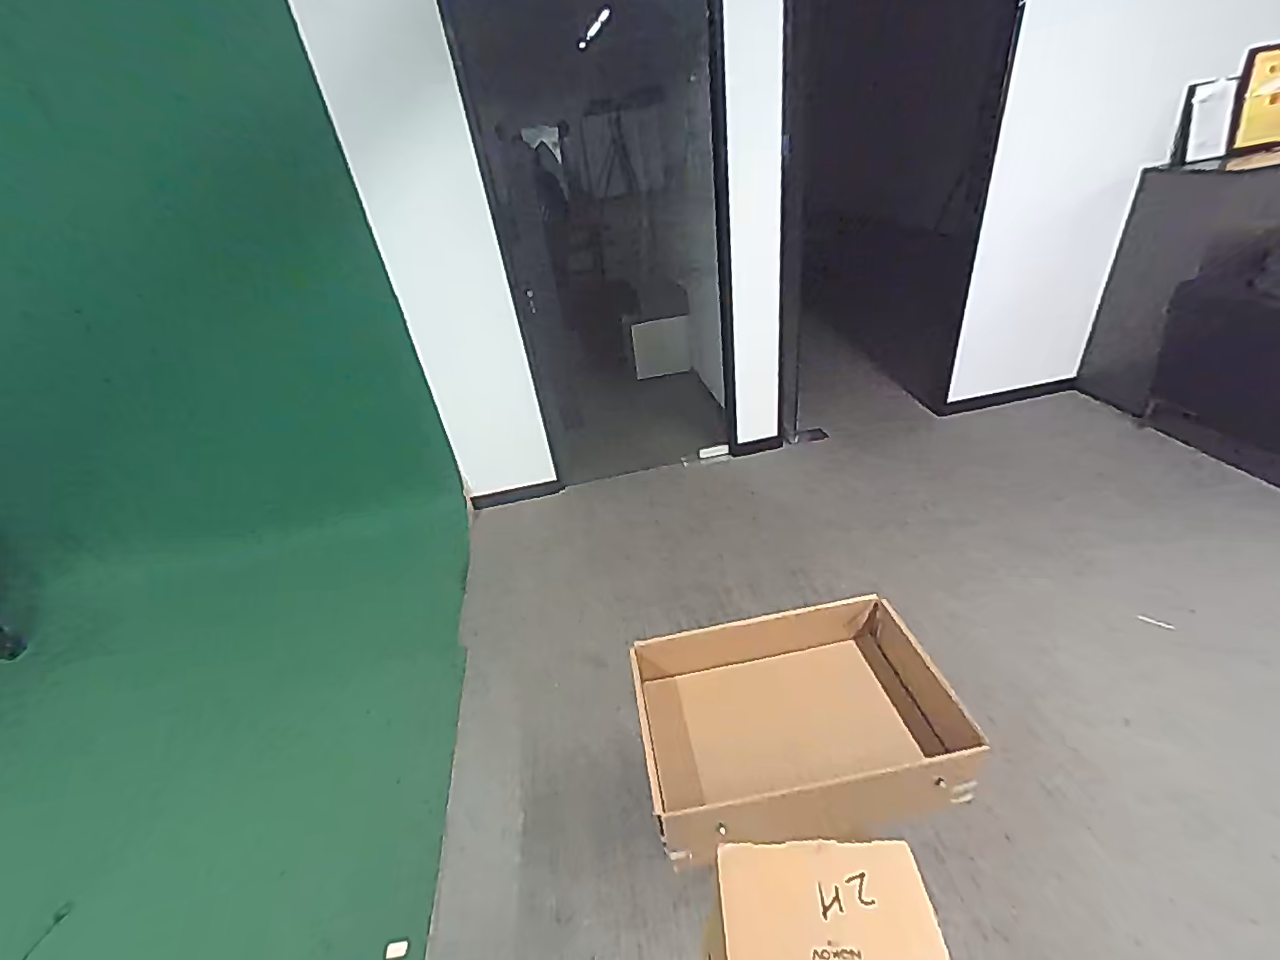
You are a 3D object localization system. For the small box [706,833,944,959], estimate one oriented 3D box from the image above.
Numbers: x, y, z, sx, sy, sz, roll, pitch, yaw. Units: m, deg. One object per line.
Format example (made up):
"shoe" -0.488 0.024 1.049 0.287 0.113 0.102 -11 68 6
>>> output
"small box" 0.141 0.415 0.433 0.168 0.176 0.179 -2 34 2
